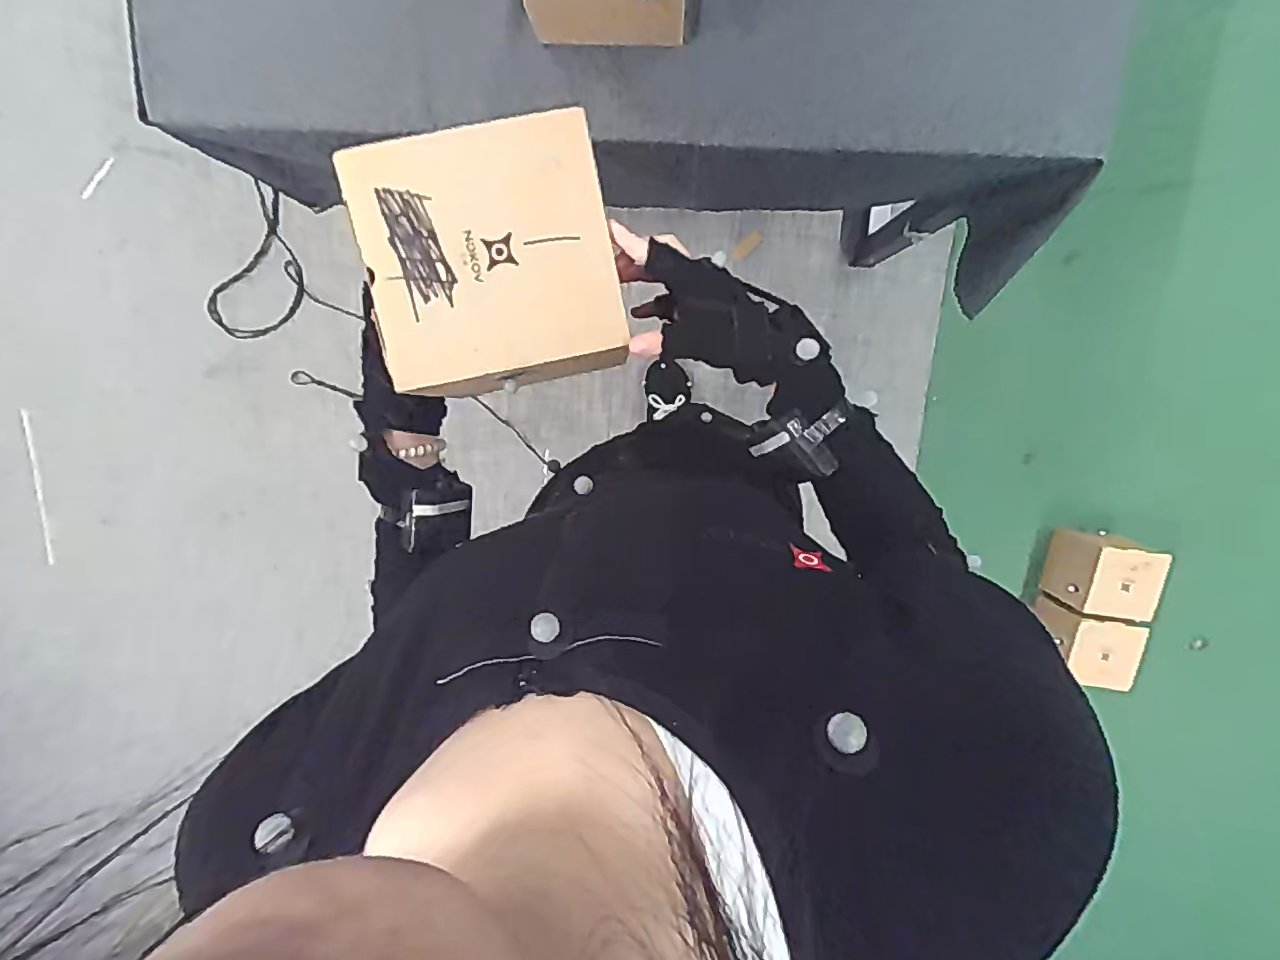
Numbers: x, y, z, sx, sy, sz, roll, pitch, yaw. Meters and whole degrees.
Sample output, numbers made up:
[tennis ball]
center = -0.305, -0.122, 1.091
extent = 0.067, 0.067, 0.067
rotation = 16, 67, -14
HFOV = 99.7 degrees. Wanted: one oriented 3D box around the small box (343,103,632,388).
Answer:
[small box]
center = -0.109, -0.175, 0.459
extent = 0.179, 0.176, 0.168
rotation = -12, 99, -4
